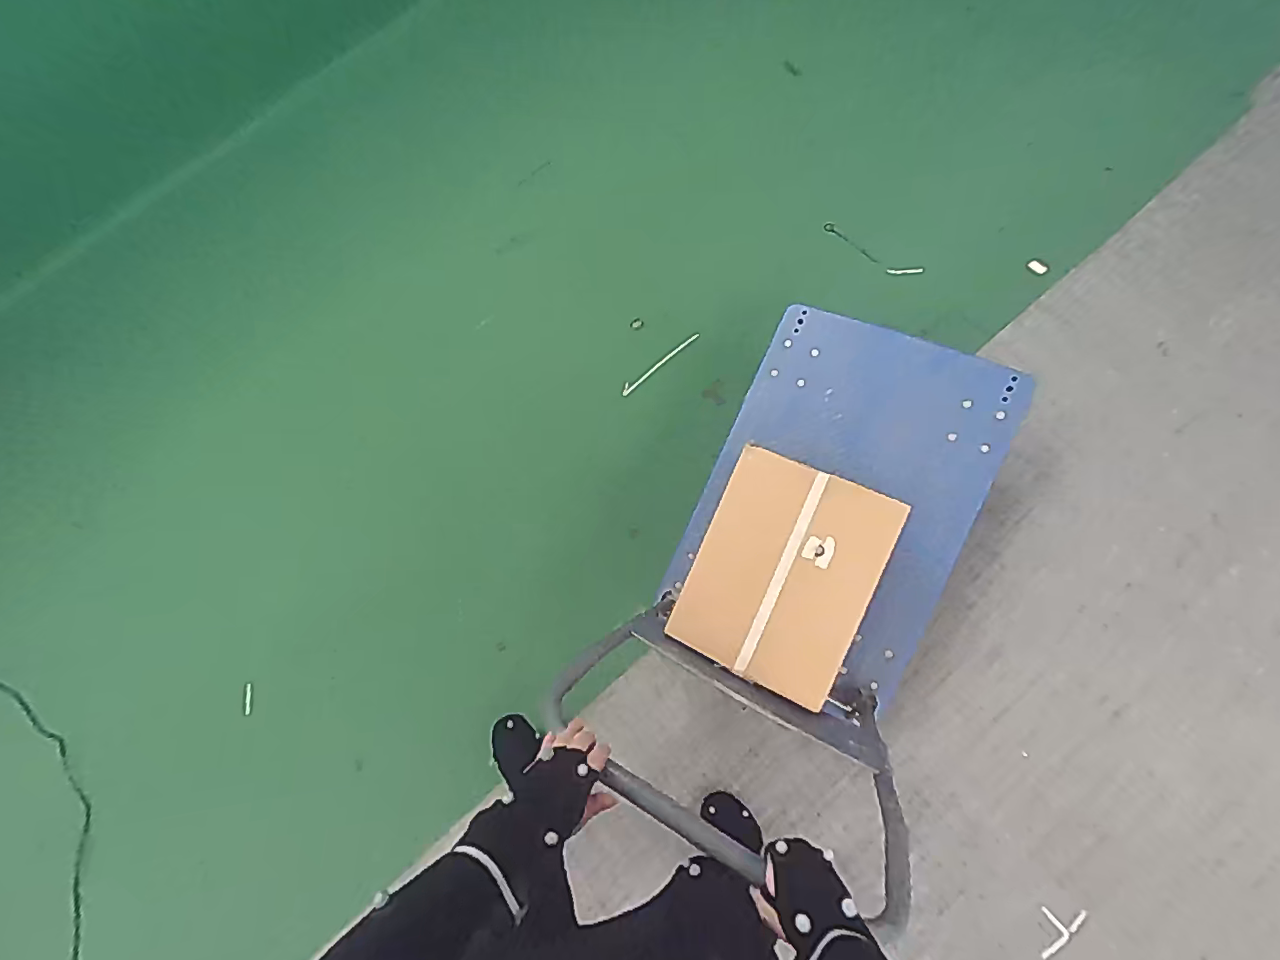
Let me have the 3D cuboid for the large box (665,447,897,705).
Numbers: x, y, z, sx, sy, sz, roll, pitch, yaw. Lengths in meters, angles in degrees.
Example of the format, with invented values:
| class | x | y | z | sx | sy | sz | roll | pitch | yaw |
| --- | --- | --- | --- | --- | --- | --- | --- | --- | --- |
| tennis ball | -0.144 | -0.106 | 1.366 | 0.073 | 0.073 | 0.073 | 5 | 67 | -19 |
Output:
| class | x | y | z | sx | sy | sz | roll | pitch | yaw |
| --- | --- | --- | --- | --- | --- | --- | --- | --- | --- |
| large box | 0.300 | 0.191 | 1.161 | 0.320 | 0.320 | 0.408 | 24 | 90 | 18 |
